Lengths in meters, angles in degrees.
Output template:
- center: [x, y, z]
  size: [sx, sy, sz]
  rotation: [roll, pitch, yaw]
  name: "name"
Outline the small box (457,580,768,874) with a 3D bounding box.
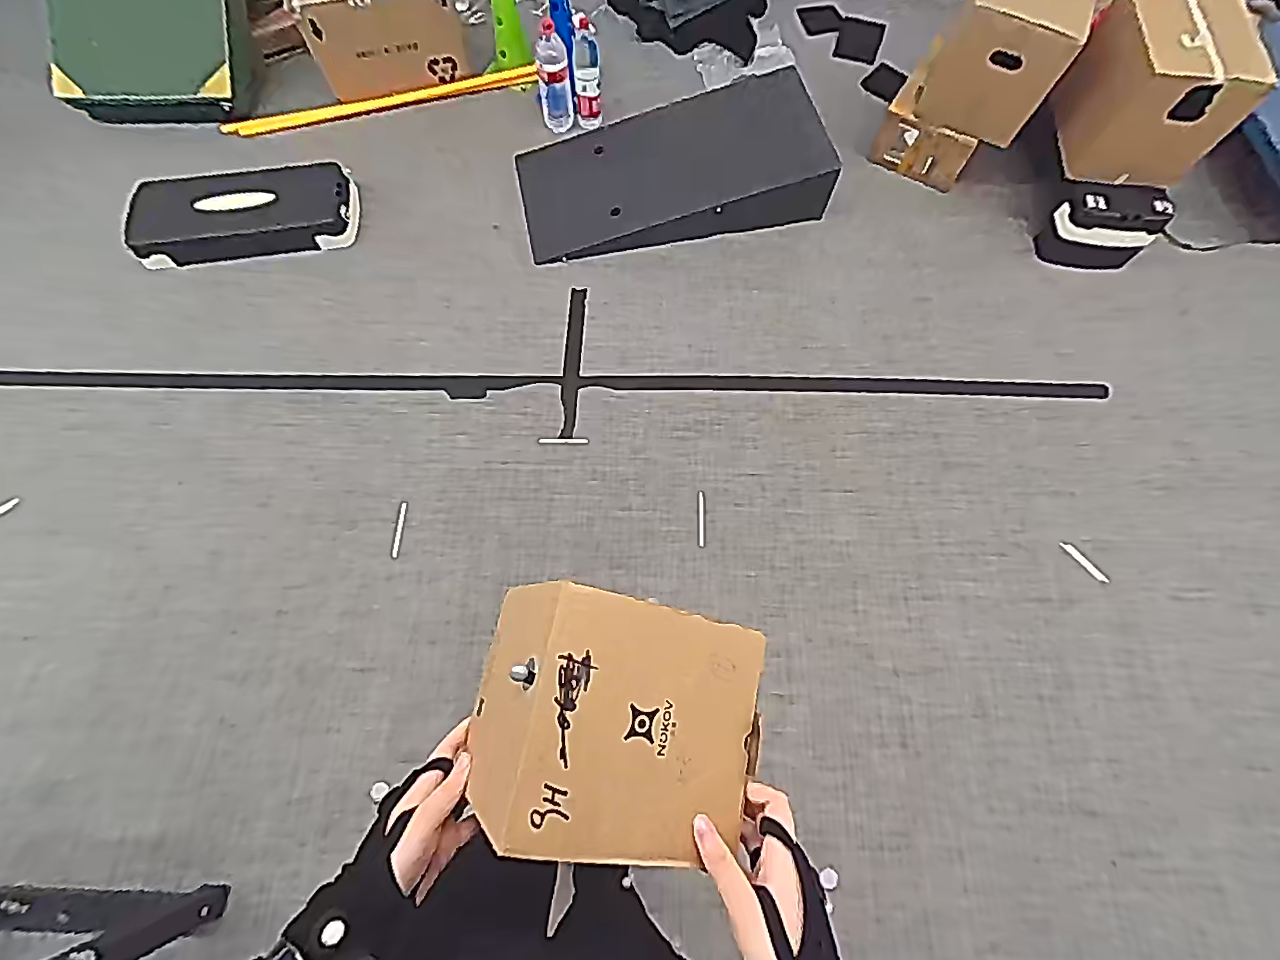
- center: [-0.027, 0.186, 0.437]
  size: [0.179, 0.176, 0.168]
  rotation: [21, 68, -22]
  name: "small box"
